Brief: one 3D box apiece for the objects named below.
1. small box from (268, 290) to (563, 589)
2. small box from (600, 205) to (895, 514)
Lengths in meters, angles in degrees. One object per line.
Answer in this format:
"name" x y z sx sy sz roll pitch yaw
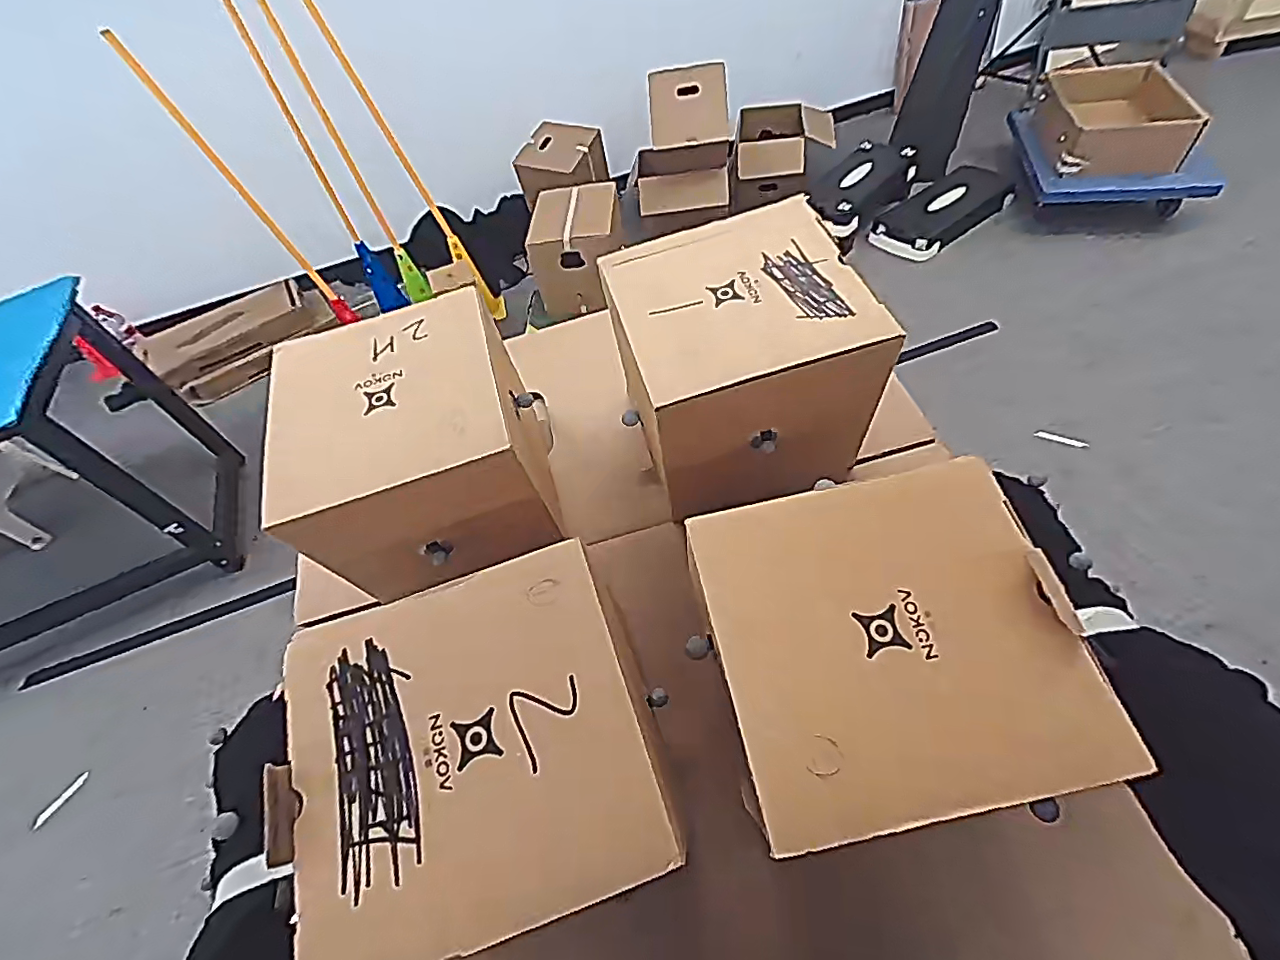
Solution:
"small box" -0.174 -0.022 0.462 0.168 0.176 0.179 -17 58 -2
"small box" 0.079 -0.093 0.465 0.179 0.176 0.168 -17 59 0
